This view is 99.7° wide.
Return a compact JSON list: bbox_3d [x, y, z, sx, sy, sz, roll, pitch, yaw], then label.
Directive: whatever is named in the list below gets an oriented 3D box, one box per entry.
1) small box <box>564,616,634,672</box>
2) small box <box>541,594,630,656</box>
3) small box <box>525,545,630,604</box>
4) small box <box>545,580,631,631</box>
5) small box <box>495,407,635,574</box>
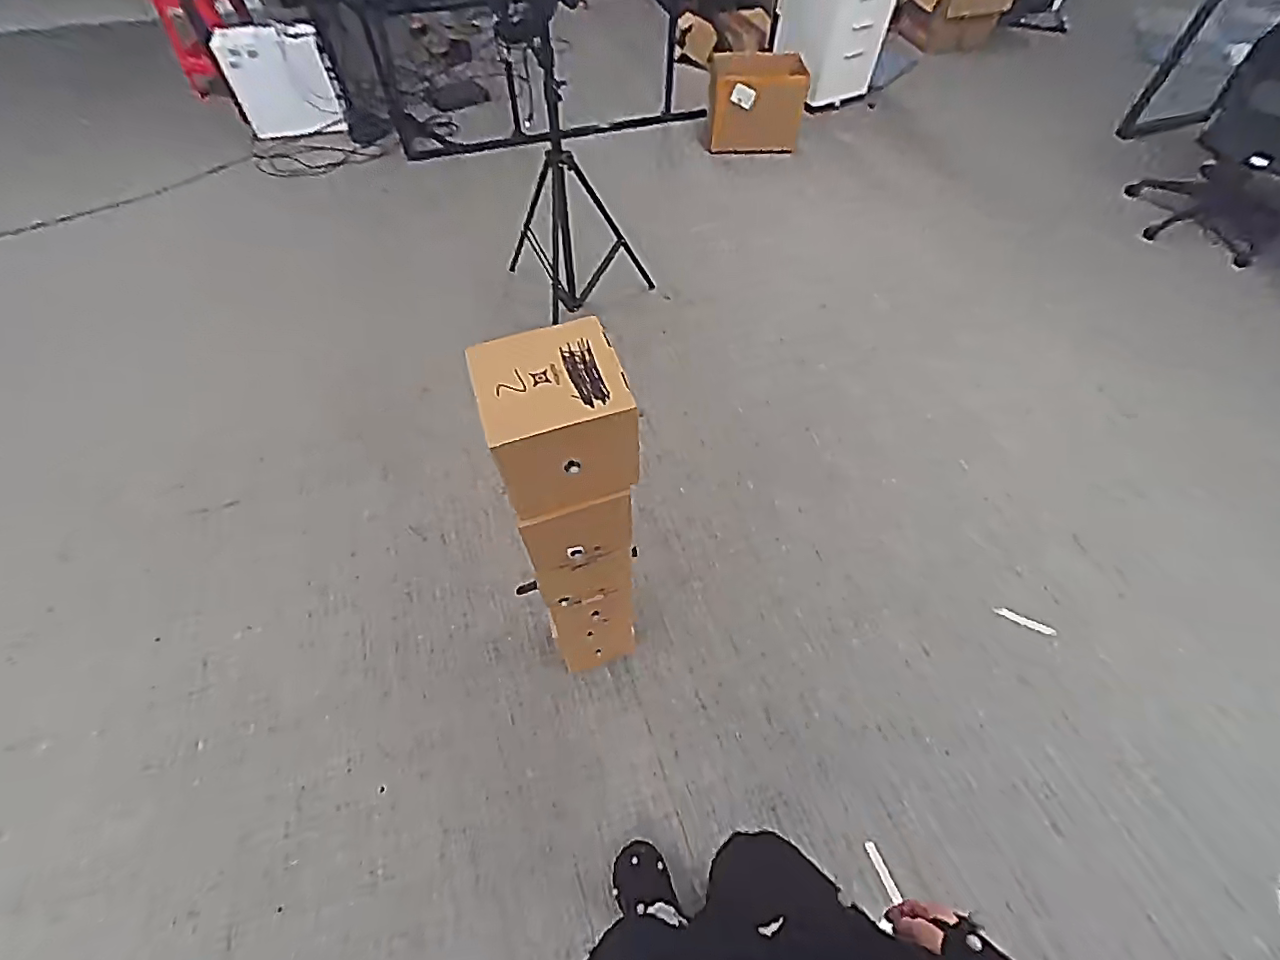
[{"bbox_3d":[-0.123,0.374,1.390,0.179,0.176,0.168,-16,59,-11],"label":"small box"},{"bbox_3d":[-0.126,0.290,1.249,0.179,0.176,0.168,-14,60,-9],"label":"small box"},{"bbox_3d":[-0.118,0.108,0.977,0.168,0.176,0.179,-15,58,-10],"label":"small box"},{"bbox_3d":[-0.116,0.198,1.115,0.168,0.176,0.179,-14,60,-10],"label":"small box"},{"bbox_3d":[-0.114,0.020,0.841,0.168,0.176,0.179,-17,60,-10],"label":"small box"}]
